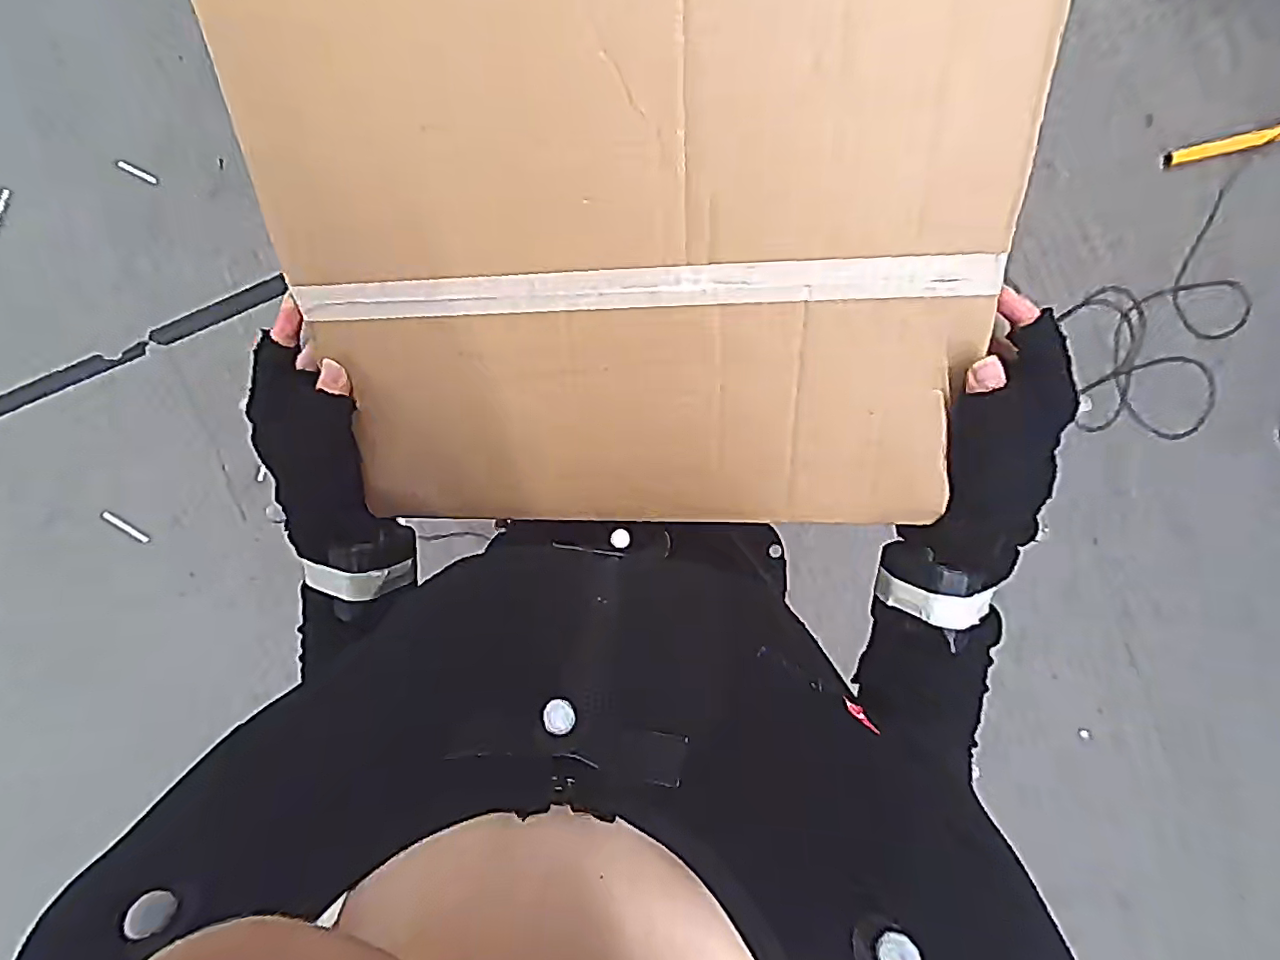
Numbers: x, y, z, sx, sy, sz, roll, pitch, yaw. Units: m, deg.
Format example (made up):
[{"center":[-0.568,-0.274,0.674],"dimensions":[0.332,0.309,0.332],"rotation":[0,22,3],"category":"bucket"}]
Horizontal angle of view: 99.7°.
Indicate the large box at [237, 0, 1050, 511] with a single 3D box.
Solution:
[{"center":[0.009,-0.182,0.451],"dimensions":[0.408,0.320,0.320],"rotation":[0,119,7],"category":"large box"}]
